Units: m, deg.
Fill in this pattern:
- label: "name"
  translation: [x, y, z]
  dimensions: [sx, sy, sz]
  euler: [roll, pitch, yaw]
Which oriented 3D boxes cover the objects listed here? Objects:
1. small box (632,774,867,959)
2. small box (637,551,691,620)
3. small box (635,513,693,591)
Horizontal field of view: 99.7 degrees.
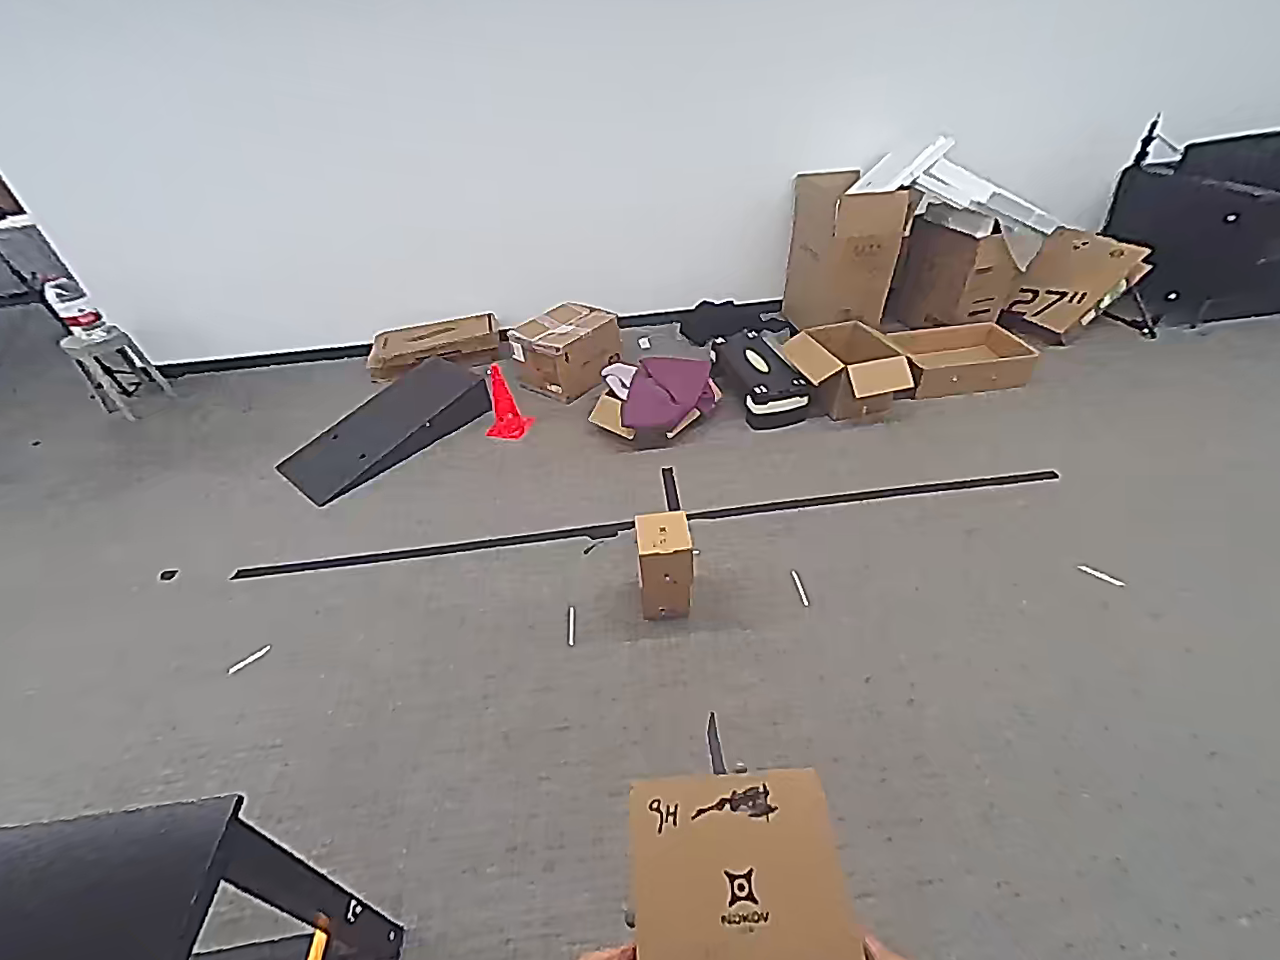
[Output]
- label: "small box"
  translation: [0.085, 0.373, 0.469]
  dimensions: [0.168, 0.176, 0.179]
  euler: [-5, 51, 0]
- label: "small box"
  translation: [0.080, 0.353, 1.843]
  dimensions: [0.168, 0.176, 0.179]
  euler: [-7, 41, -1]
- label: "small box"
  translation: [0.076, 0.230, 1.732]
  dimensions: [0.168, 0.176, 0.179]
  euler: [-7, 39, 0]
